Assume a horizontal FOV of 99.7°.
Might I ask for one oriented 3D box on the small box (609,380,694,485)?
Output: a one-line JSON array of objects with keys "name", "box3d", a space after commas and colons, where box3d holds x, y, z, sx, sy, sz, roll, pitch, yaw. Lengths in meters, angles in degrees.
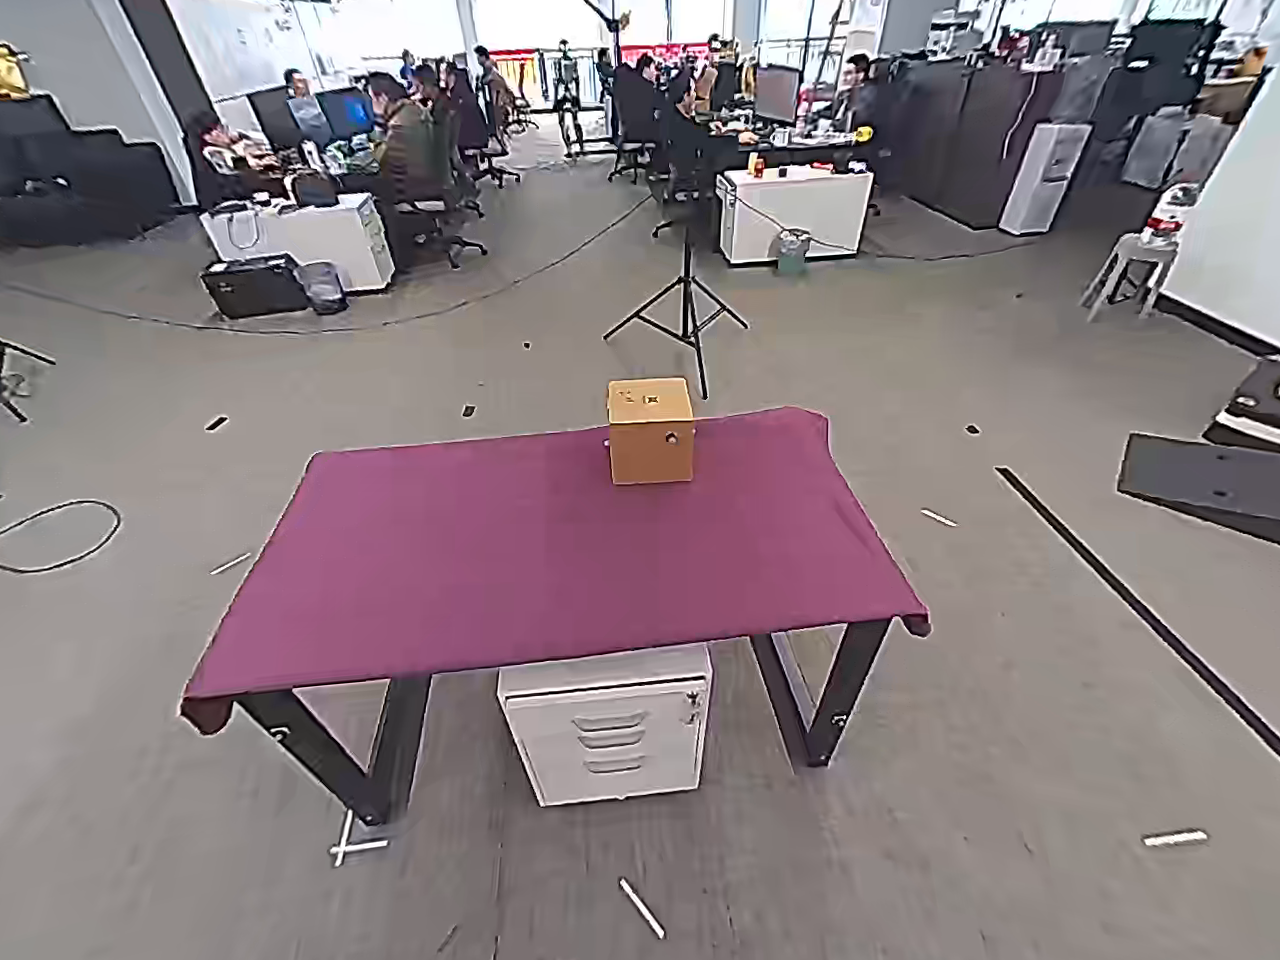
[{"name": "small box", "box3d": [0.022, -0.105, 1.202, 0.179, 0.176, 0.168, -4, 41, -1]}]
